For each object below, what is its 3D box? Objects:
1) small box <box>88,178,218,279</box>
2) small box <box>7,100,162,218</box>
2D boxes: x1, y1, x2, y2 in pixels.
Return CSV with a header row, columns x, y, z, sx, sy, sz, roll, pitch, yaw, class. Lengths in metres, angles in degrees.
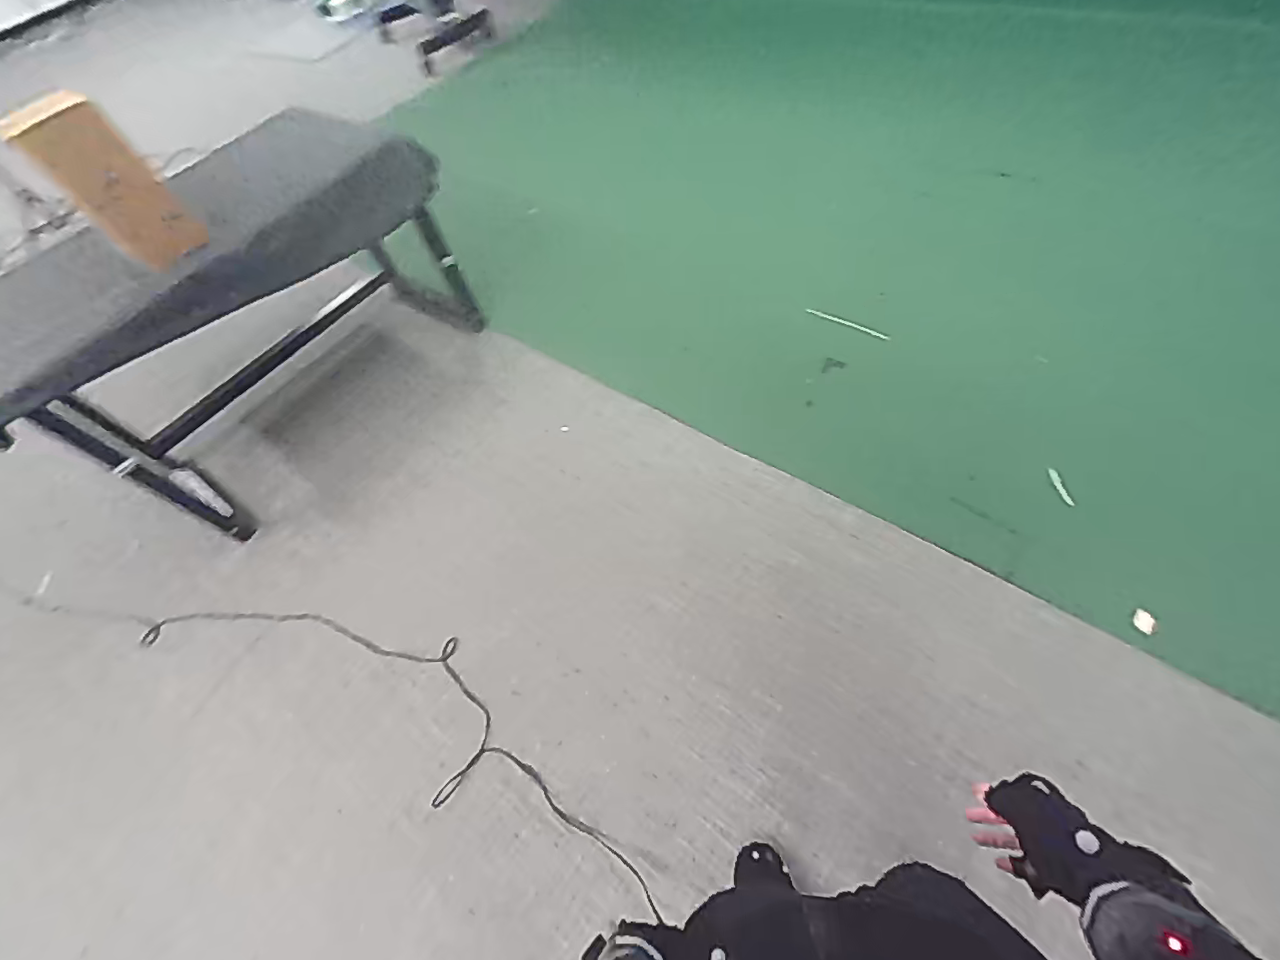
x,y,z,sx,sy,sz,roll,pitch,yaw,class
-1.239,-0.653,1.388,0.168,0.176,0.179,27,67,27,small box
-1.272,-0.744,1.255,0.168,0.176,0.179,27,65,27,small box
